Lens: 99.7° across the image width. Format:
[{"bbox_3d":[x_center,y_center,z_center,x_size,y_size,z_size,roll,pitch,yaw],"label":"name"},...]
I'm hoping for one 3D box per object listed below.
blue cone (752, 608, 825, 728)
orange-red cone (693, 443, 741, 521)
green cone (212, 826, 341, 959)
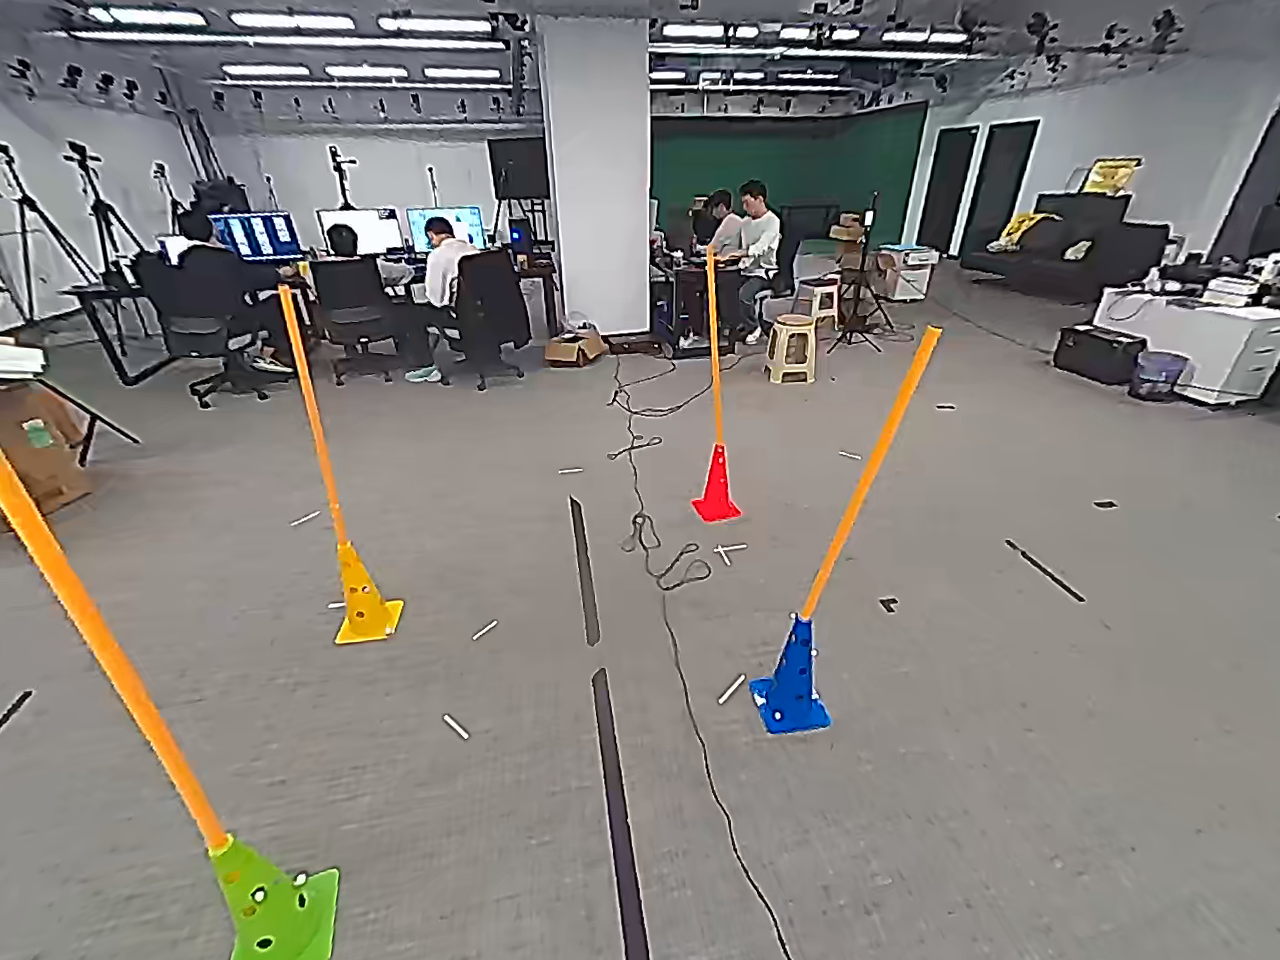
[{"bbox_3d":[0.457,0.541,1.604,0.193,0.380,0.192,-5,29,-6],"label":"blue cone"},{"bbox_3d":[0.370,-0.008,2.566,0.199,0.360,0.198,-10,30,-12],"label":"orange-red cone"},{"bbox_3d":[-0.778,0.838,1.105,0.200,0.368,0.202,-12,29,-18],"label":"green cone"}]
